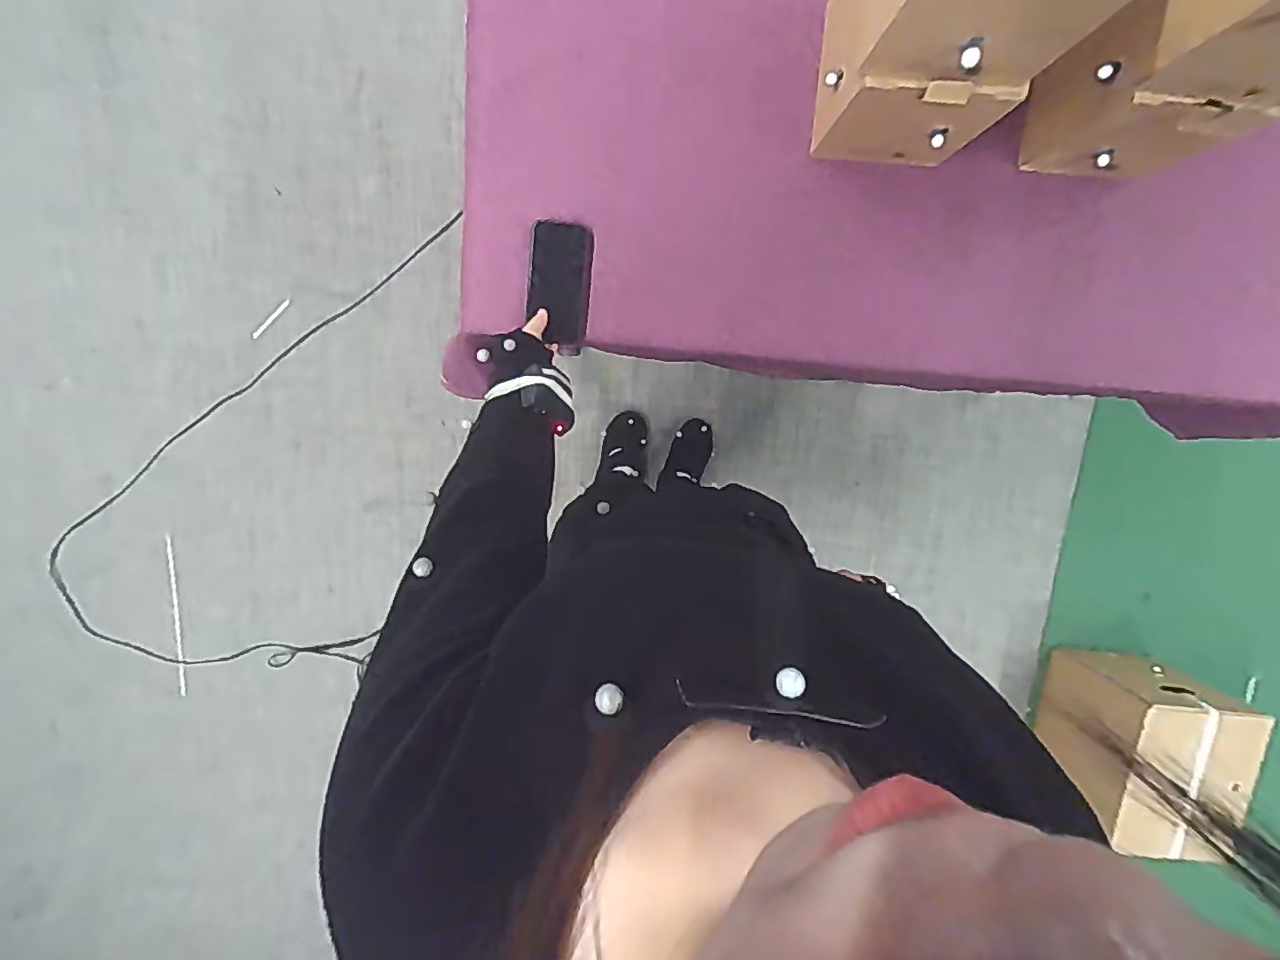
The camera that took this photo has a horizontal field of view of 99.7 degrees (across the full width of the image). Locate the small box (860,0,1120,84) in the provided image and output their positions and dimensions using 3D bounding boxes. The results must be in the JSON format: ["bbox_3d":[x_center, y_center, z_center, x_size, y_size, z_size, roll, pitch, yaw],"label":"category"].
[{"bbox_3d":[0.292,-0.460,0.428,0.168,0.176,0.179,3,100,0],"label":"small box"}]

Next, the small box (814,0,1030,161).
[{"bbox_3d":[0.302,-0.477,0.592,0.168,0.176,0.179,4,99,-1],"label":"small box"}]

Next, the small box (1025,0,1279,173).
[{"bbox_3d":[0.567,-0.467,0.592,0.168,0.176,0.179,4,100,0],"label":"small box"}]
